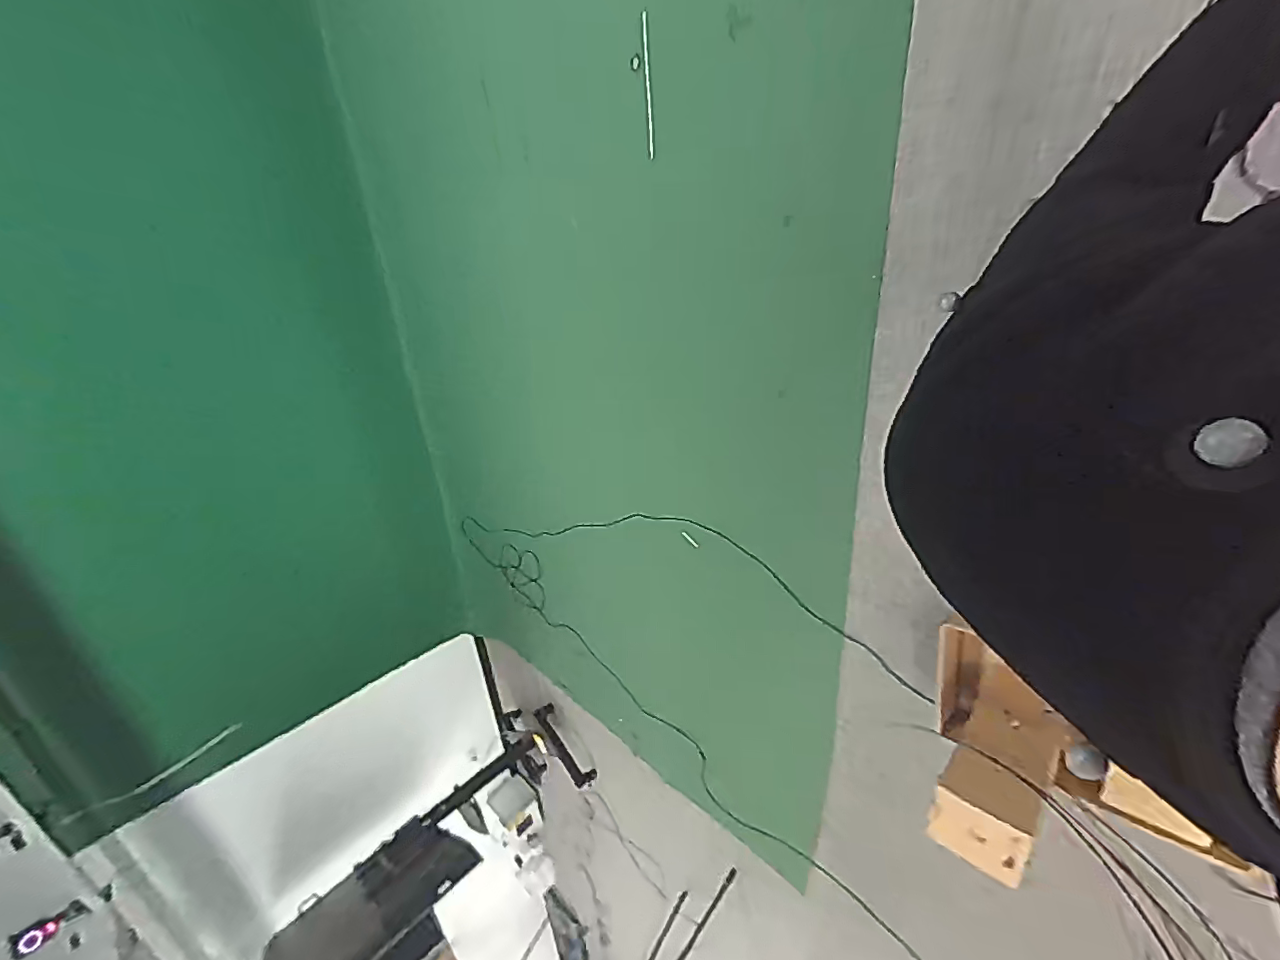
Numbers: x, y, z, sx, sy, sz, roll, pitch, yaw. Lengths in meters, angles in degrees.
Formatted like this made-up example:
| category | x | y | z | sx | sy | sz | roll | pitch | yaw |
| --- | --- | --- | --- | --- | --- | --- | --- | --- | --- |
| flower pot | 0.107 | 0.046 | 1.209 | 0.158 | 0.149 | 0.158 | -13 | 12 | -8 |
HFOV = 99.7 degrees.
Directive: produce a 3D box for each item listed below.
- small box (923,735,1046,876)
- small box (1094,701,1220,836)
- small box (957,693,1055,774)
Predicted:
| category | x | y | z | sx | sy | sz | roll | pitch | yaw |
| --- | --- | --- | --- | --- | --- | --- | --- | --- | --- |
| small box | 0.759 | 0.704 | 1.197 | 0.179 | 0.176 | 0.168 | 20 | 124 | 41 |
| small box | 1.171 | 0.639 | 1.224 | 0.179 | 0.176 | 0.168 | 15 | 120 | 46 |
| small box | 0.876 | 0.659 | 1.306 | 0.168 | 0.176 | 0.179 | 15 | 121 | 43 |
